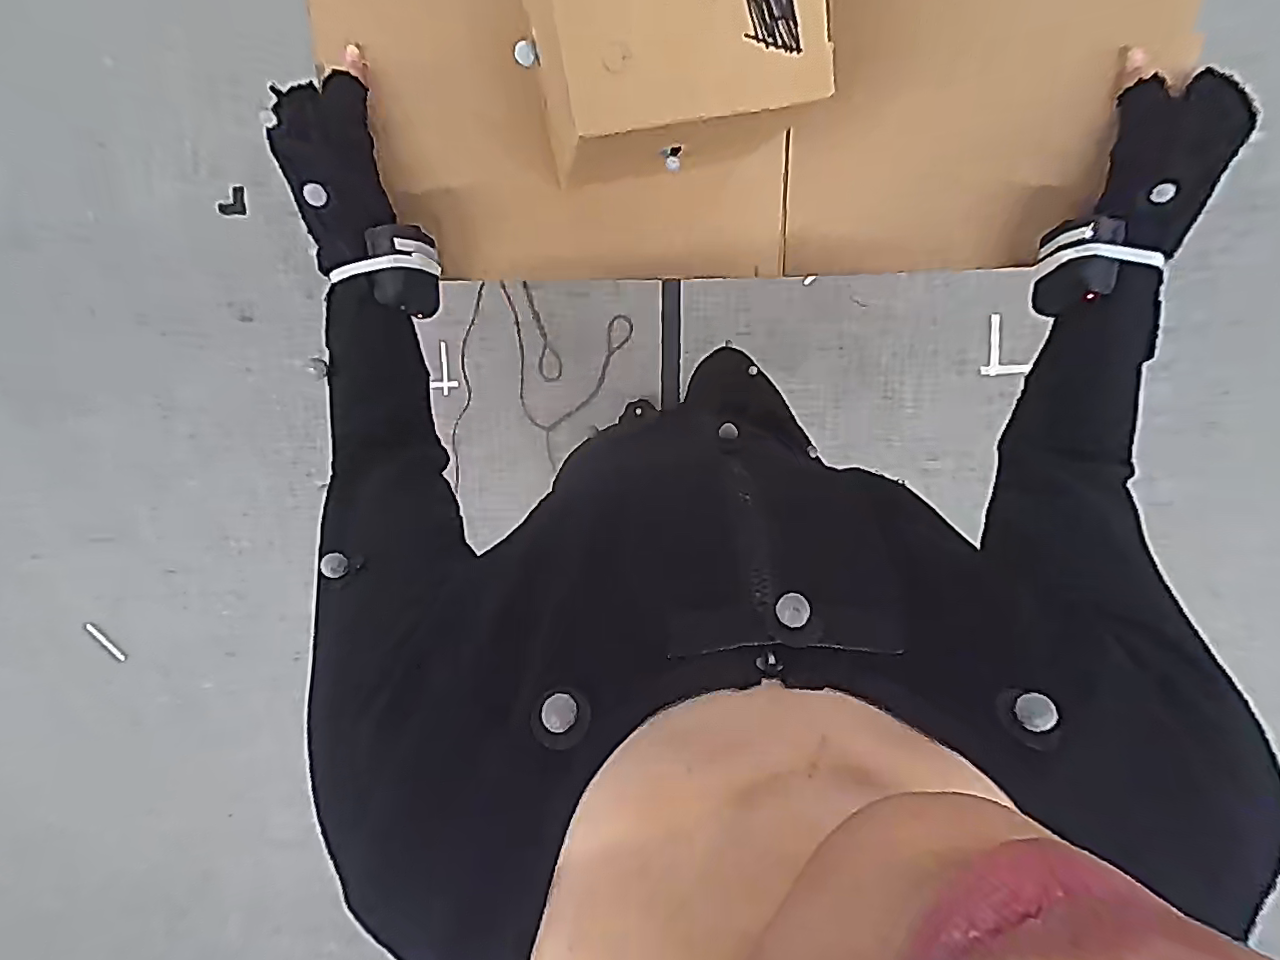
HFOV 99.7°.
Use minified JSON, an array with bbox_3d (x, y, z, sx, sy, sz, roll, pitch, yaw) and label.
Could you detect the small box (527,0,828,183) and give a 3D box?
[{"bbox_3d":[0.015,-0.339,0.403,0.179,0.176,0.168,-13,109,-7],"label":"small box"}]
